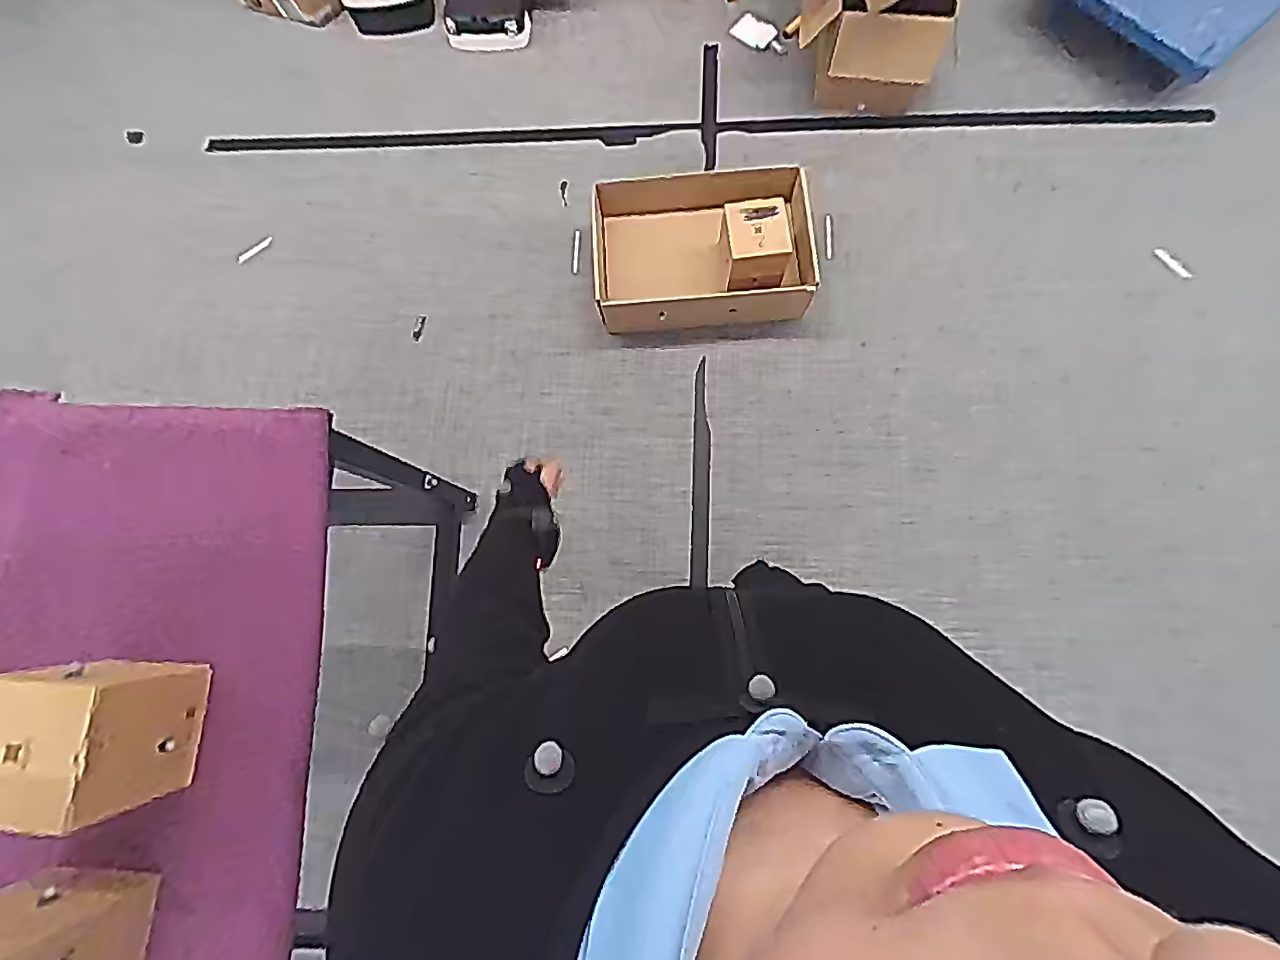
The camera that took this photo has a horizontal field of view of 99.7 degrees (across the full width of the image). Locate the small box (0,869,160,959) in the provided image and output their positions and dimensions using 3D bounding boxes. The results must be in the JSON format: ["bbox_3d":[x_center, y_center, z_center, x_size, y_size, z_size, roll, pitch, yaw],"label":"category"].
[{"bbox_3d":[-0.756,0.620,0.671,0.168,0.176,0.179,1,79,4],"label":"small box"}]

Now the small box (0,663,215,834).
[{"bbox_3d":[-0.733,0.344,0.726,0.179,0.176,0.168,1,79,4],"label":"small box"}]
